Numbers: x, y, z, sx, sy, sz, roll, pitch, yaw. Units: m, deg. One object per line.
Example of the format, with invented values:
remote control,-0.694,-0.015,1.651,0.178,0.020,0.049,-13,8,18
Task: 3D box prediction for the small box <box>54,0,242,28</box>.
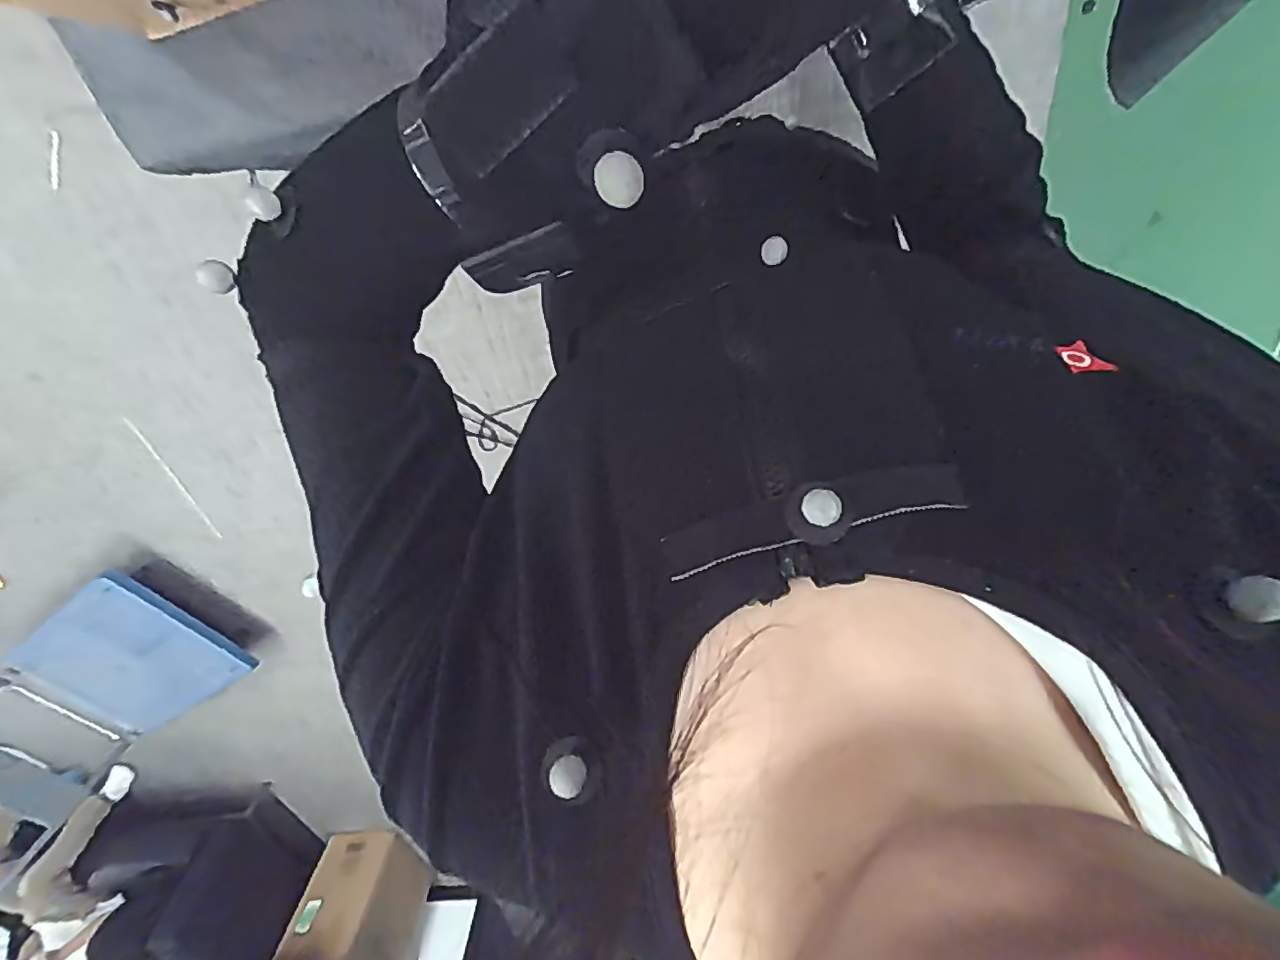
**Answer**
small box,-0.436,-0.490,0.415,0.168,0.176,0.179,-10,122,9
